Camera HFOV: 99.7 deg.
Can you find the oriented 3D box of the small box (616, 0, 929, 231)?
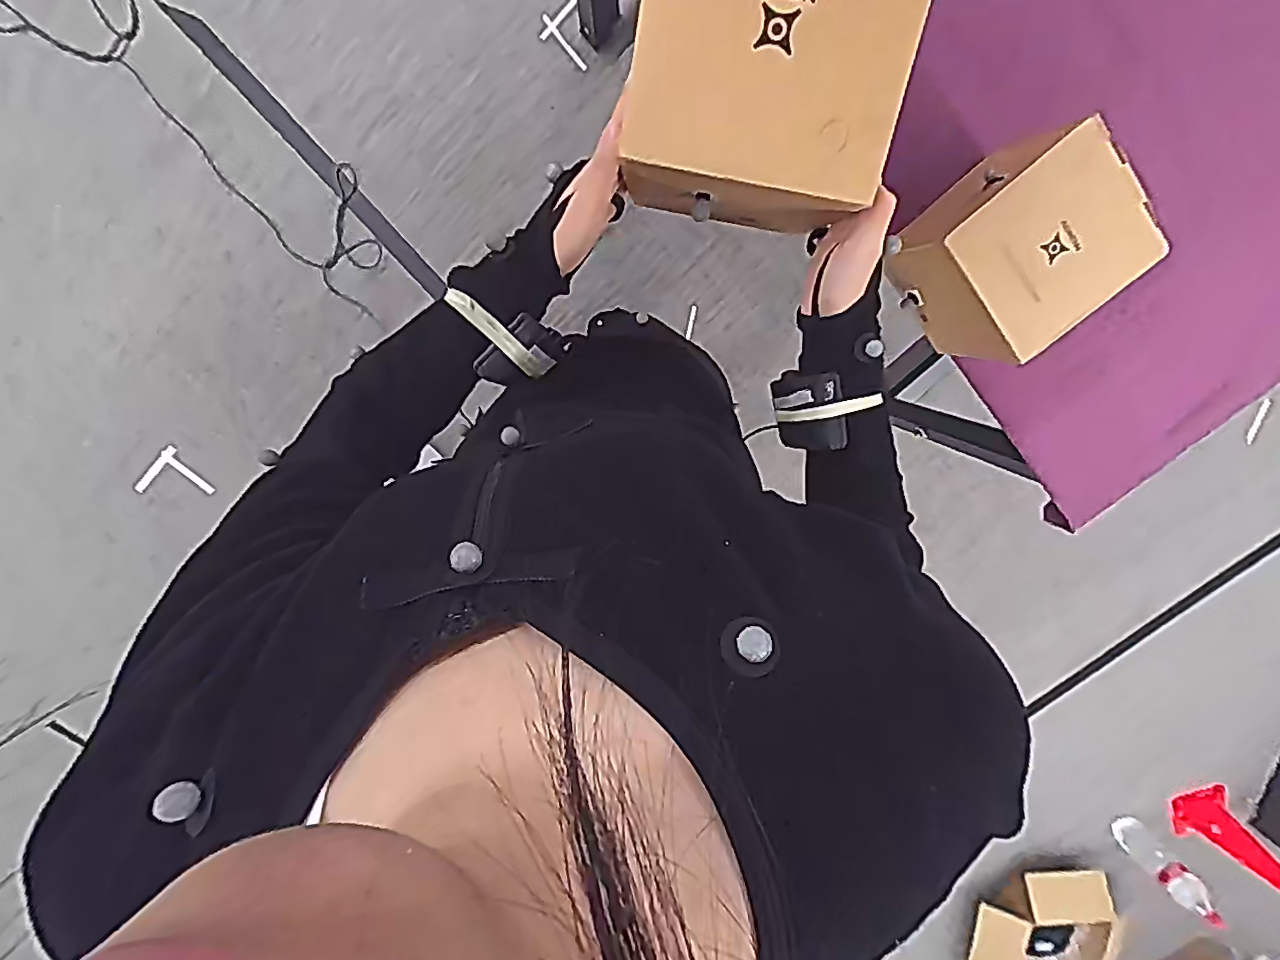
[{"bbox_3d":[0.084,-0.291,0.387,0.168,0.176,0.179,11,107,0],"label":"small box"}]

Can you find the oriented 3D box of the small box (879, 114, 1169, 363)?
[{"bbox_3d":[0.417,-0.259,0.618,0.179,0.176,0.168,-40,103,10],"label":"small box"}]
